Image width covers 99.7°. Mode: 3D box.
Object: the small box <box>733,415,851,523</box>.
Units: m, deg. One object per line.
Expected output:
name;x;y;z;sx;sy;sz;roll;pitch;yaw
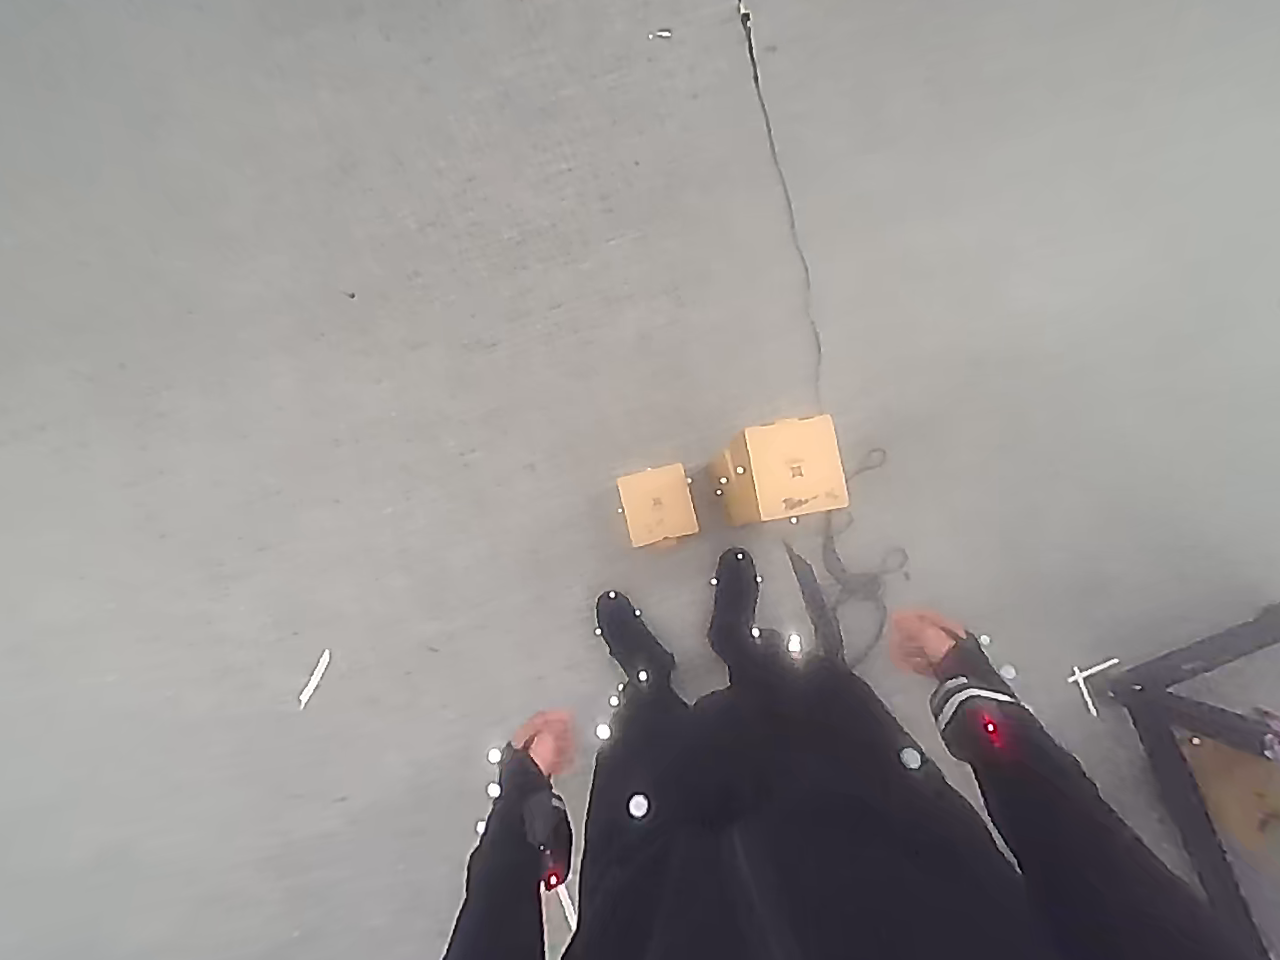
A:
small box;0.287;-0.015;1.062;0.168;0.176;0.179;-10;84;-1

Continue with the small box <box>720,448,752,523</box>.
small box;0.289;-0.003;1.226;0.179;0.176;0.168;-17;85;-1

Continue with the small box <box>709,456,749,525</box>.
small box;0.287;0.011;1.388;0.168;0.176;0.179;-19;86;-1

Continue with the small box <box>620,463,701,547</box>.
small box;0.047;0.068;1.379;0.168;0.176;0.179;-14;86;-1
